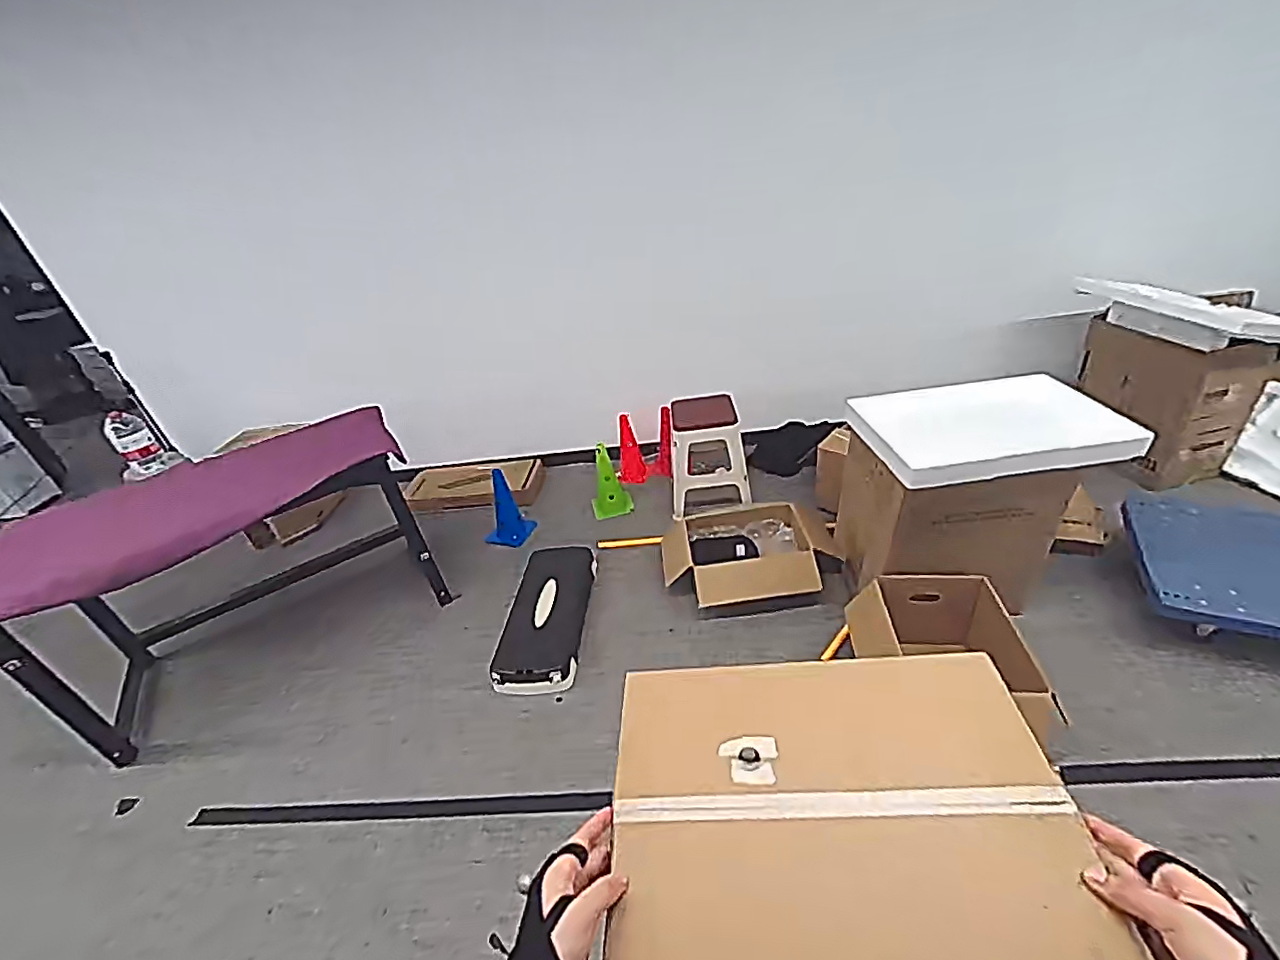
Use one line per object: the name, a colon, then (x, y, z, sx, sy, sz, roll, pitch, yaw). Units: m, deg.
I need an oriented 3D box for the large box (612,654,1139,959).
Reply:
large box: (0.203, 0.429, 0.596, 0.408, 0.320, 0.320, -7, 35, 8)
